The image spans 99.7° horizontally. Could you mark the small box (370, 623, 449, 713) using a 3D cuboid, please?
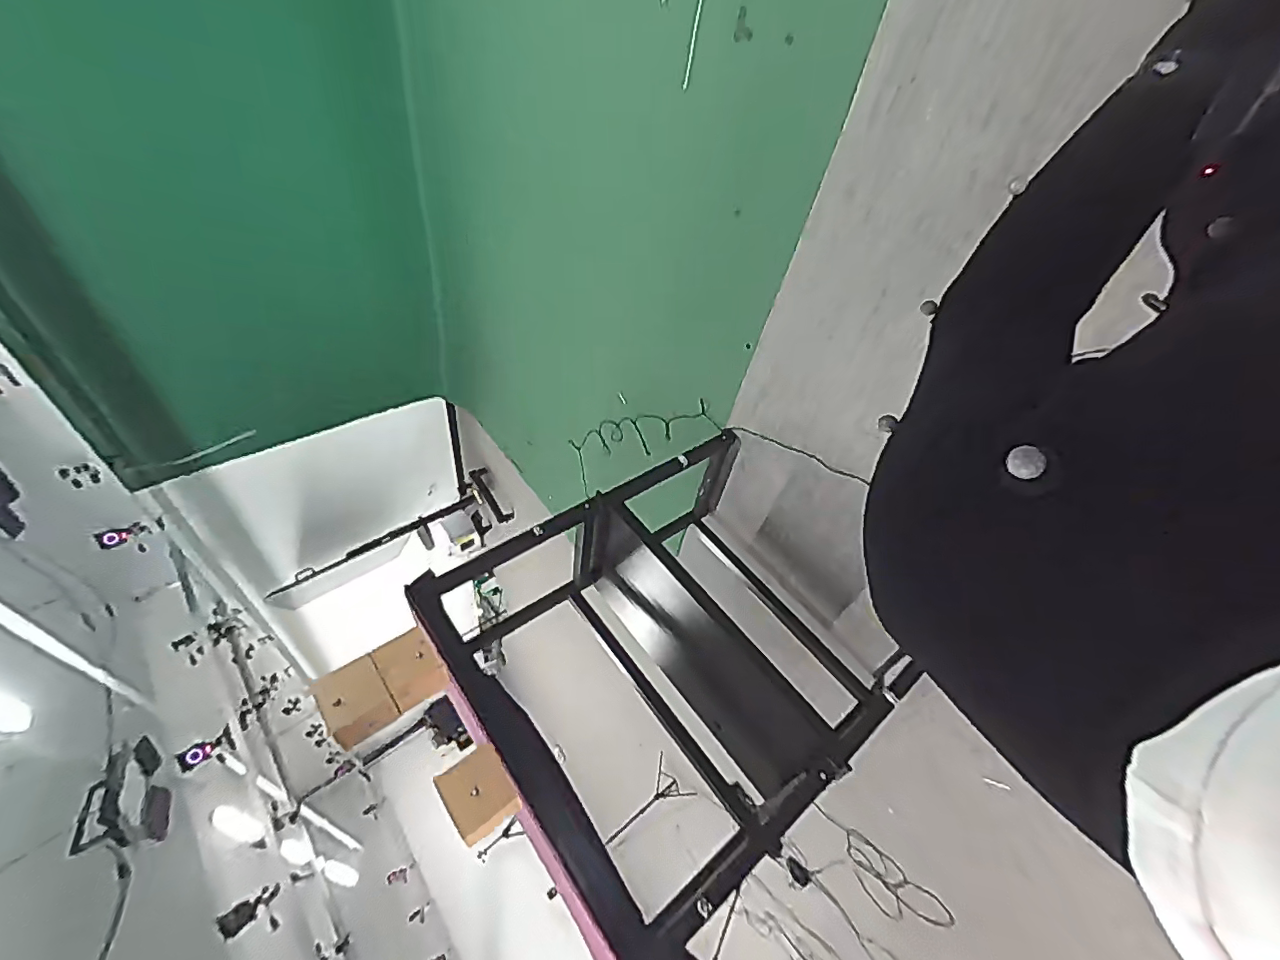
[{"bbox_3d":[-0.706,0.580,1.676,0.168,0.176,0.179,46,144,27],"label":"small box"}]

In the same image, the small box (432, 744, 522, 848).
[{"bbox_3d":[-0.440,0.852,1.472,0.179,0.176,0.168,46,147,26],"label":"small box"}]

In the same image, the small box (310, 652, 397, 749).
[{"bbox_3d":[-0.828,0.642,1.583,0.179,0.176,0.168,46,144,26],"label":"small box"}]
